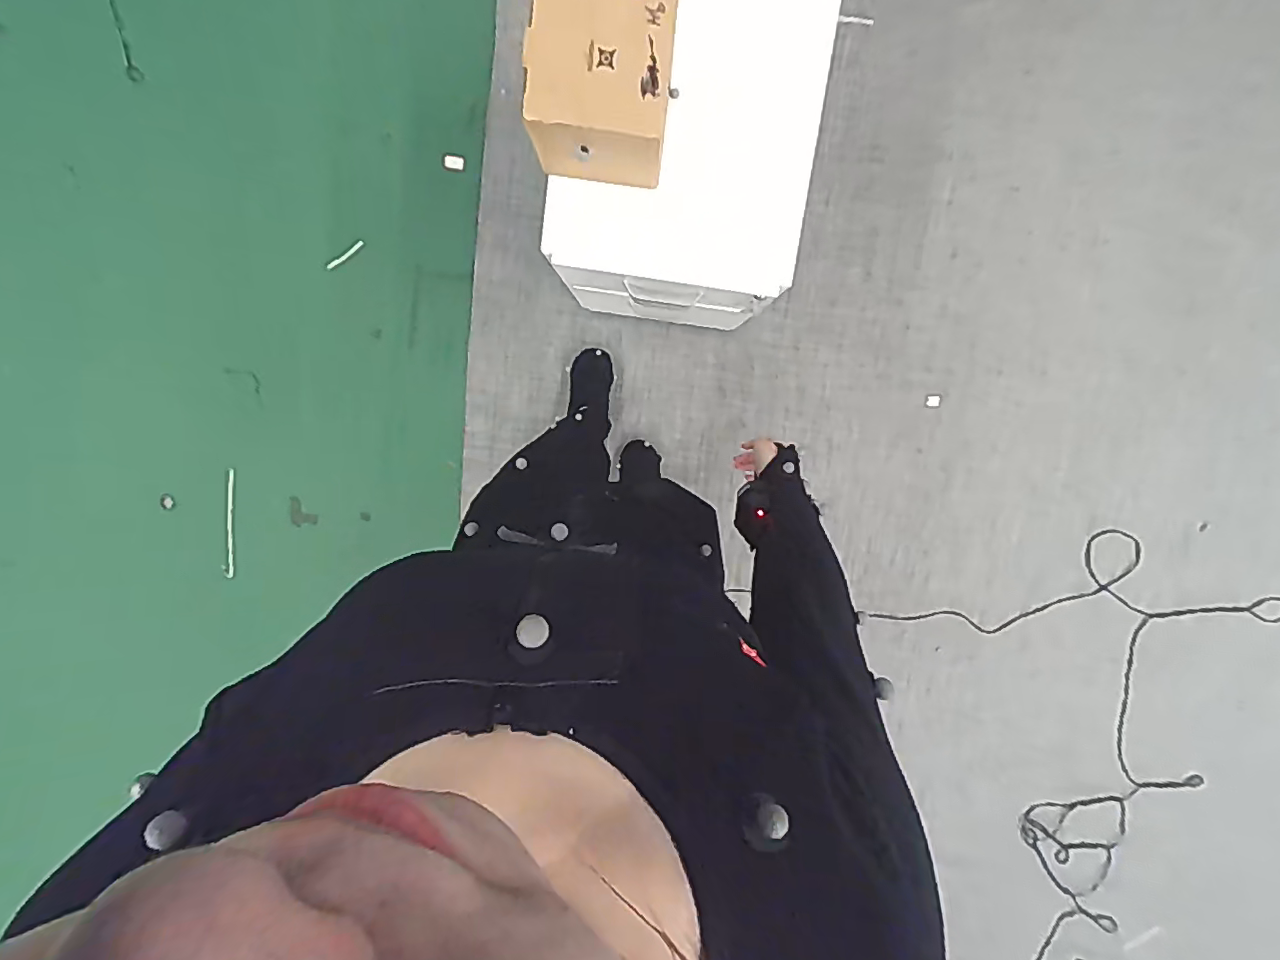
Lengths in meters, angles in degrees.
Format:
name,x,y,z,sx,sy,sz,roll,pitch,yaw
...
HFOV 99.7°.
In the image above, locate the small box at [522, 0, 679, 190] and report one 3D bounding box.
name,x,y,z,sx,sy,sz,roll,pitch,yaw
small box,-0.049,-0.519,0.735,0.179,0.176,0.168,7,98,-1
